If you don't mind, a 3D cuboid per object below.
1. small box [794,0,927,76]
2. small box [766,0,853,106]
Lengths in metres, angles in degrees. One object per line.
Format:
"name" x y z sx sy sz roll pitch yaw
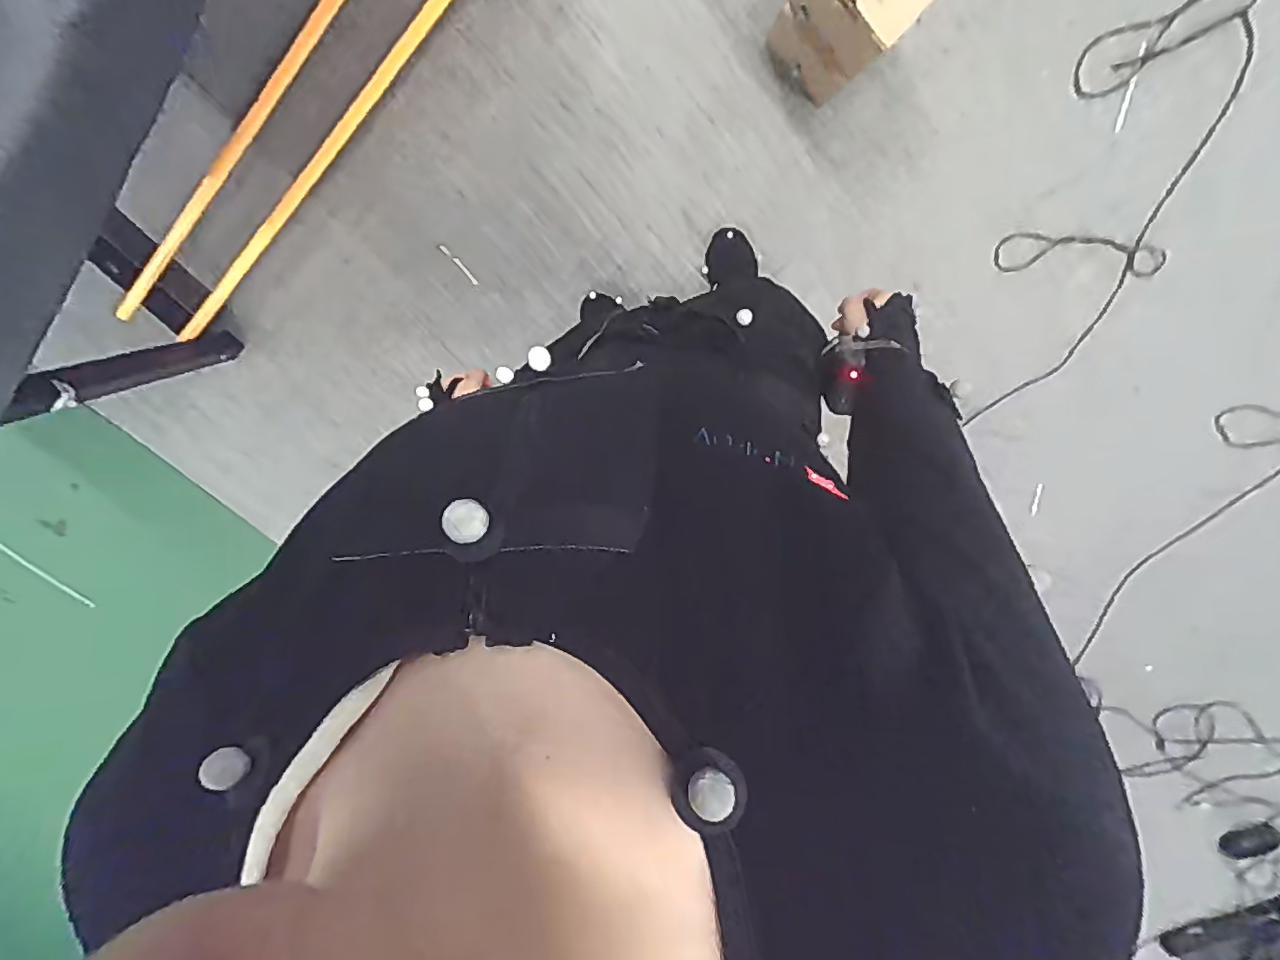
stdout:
"small box" 0.350 -0.757 0.805 0.168 0.176 0.179 41 108 -14
"small box" 0.348 -0.816 0.959 0.168 0.176 0.179 40 110 -13
